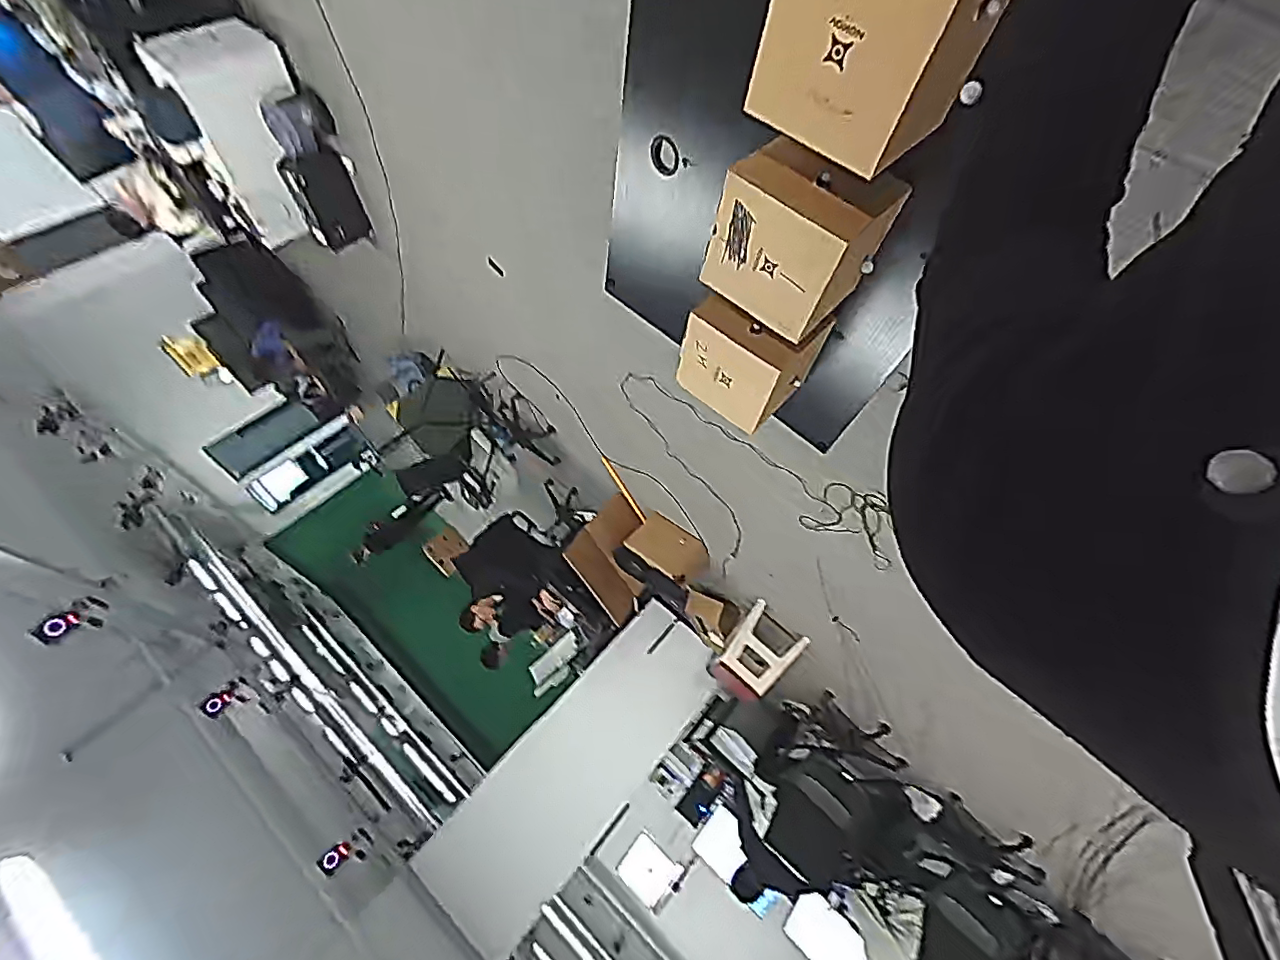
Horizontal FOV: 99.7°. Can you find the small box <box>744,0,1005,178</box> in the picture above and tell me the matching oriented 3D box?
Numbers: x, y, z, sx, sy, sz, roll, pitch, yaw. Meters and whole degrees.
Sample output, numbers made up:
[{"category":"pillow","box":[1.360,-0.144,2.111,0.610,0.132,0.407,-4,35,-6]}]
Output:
[{"category":"small box","box":[0.233,-0.446,0.528,0.168,0.176,0.179,40,155,16]}]
